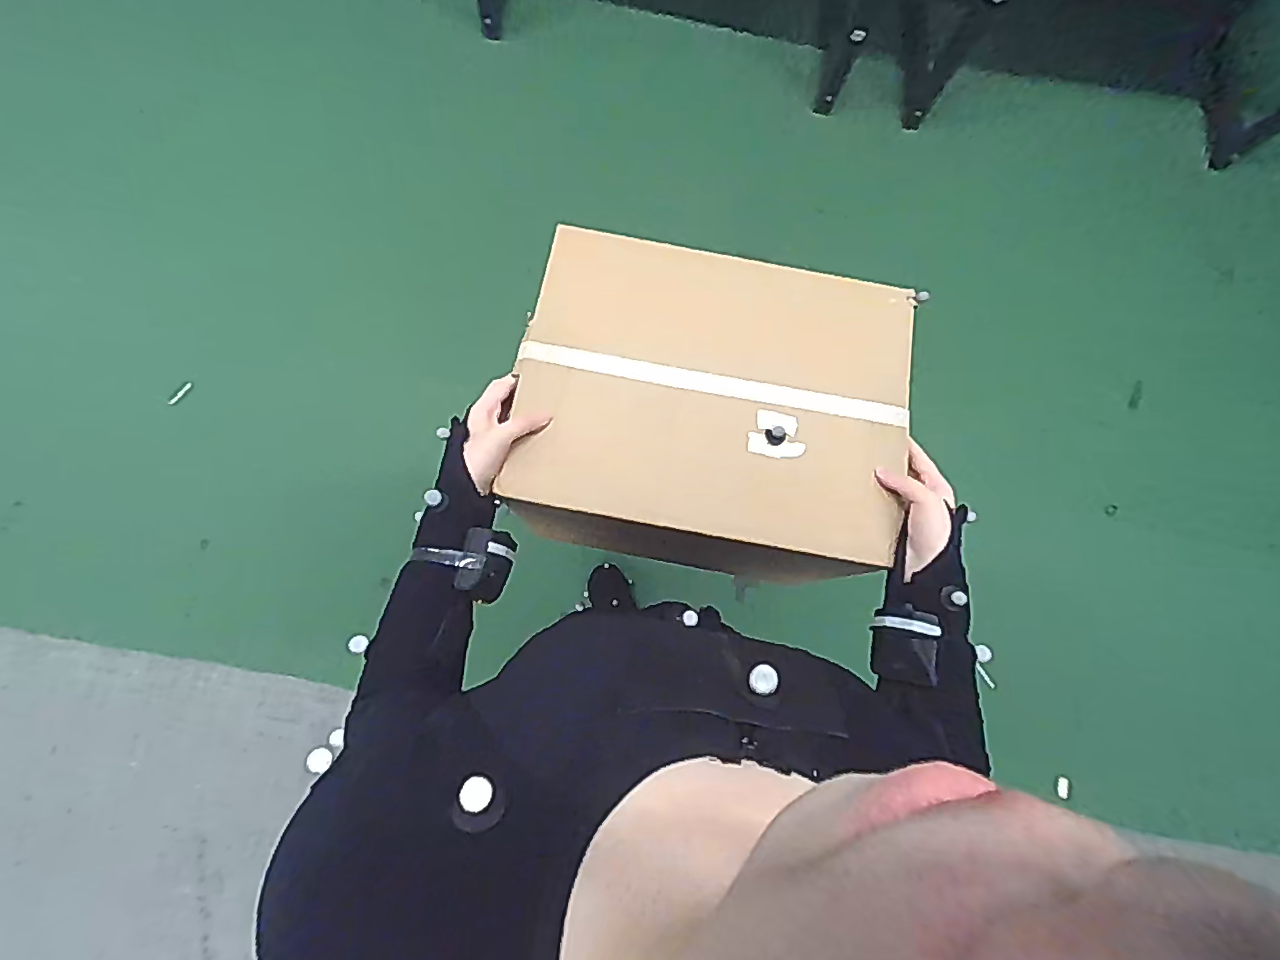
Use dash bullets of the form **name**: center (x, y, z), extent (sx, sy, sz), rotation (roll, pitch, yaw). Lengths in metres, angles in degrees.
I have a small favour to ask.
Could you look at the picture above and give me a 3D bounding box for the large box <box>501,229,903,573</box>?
- **large box**: center (0.069, -0.069, 0.711), extent (0.408, 0.320, 0.320), rotation (10, 76, -1)
